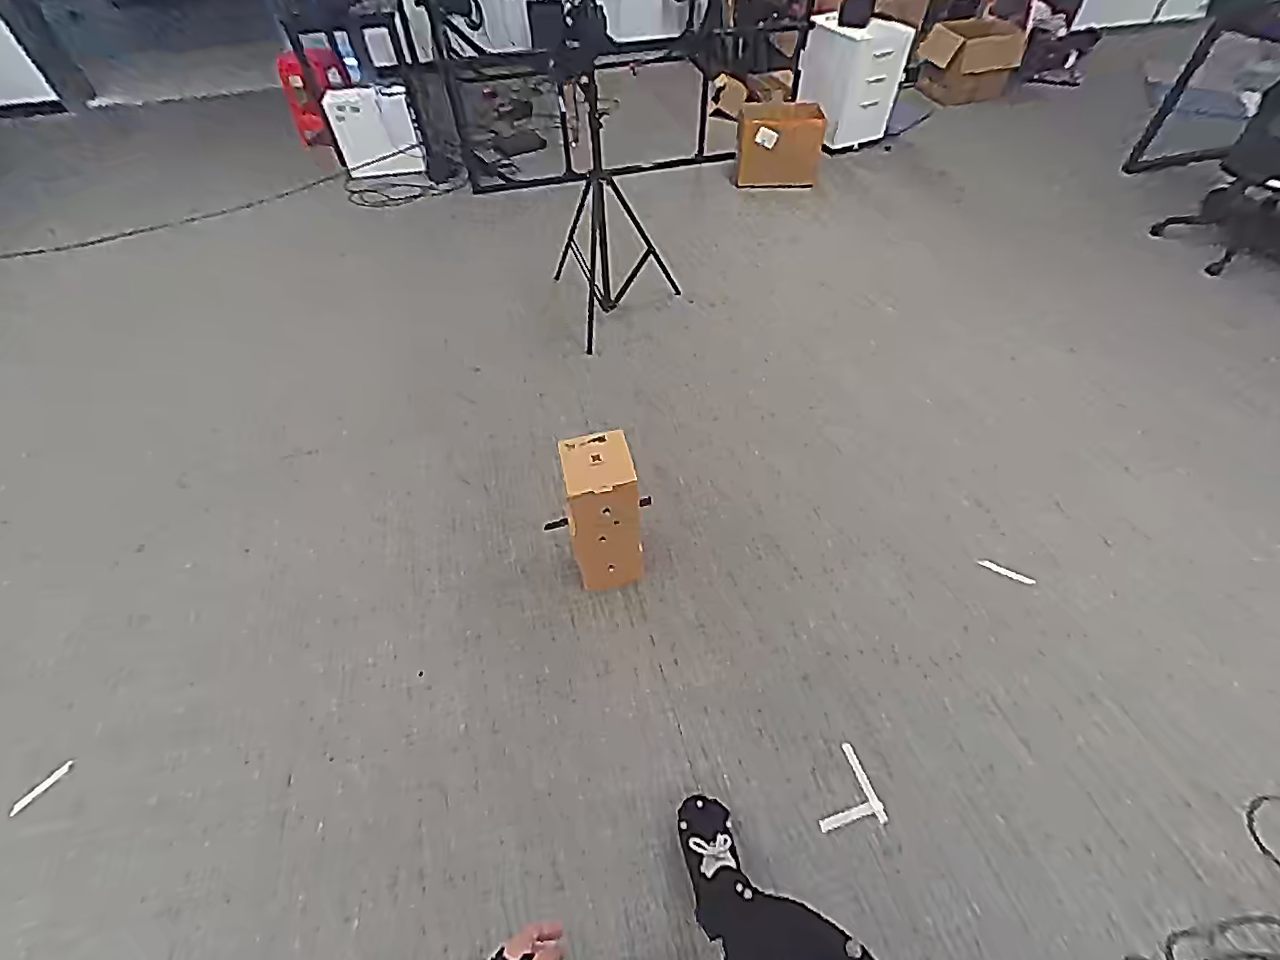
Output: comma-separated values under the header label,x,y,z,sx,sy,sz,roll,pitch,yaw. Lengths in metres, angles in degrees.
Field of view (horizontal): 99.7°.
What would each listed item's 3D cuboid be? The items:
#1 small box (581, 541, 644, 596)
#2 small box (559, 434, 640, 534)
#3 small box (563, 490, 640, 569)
label,x,y,z,sx,sy,sz,roll,pitch,yaw
small box,-0.091,0.221,1.596,0.179,0.176,0.168,-13,53,-8
small box,-0.097,0.018,1.338,0.168,0.176,0.179,-11,53,-7
small box,-0.101,0.123,1.464,0.179,0.176,0.168,-11,53,-7
